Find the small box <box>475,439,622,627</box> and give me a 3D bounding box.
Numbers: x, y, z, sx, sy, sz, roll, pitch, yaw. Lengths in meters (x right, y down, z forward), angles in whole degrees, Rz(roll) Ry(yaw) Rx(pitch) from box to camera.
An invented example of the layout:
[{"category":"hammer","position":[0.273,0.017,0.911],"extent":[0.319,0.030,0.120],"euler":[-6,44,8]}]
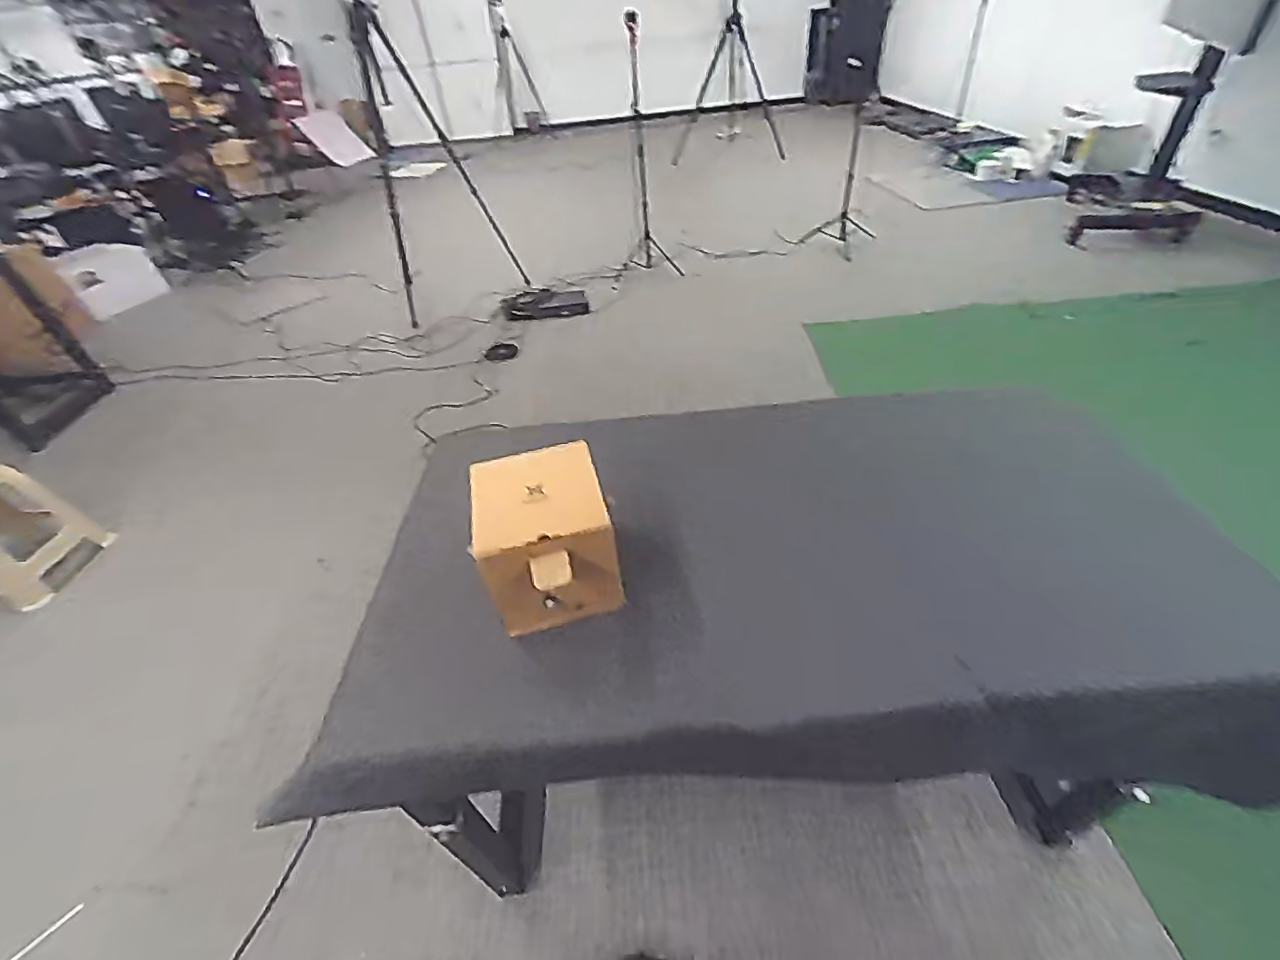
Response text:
[{"category":"small box","position":[-0.126,0.071,0.751],"extent":[0.168,0.176,0.179],"euler":[-13,42,-9]}]
